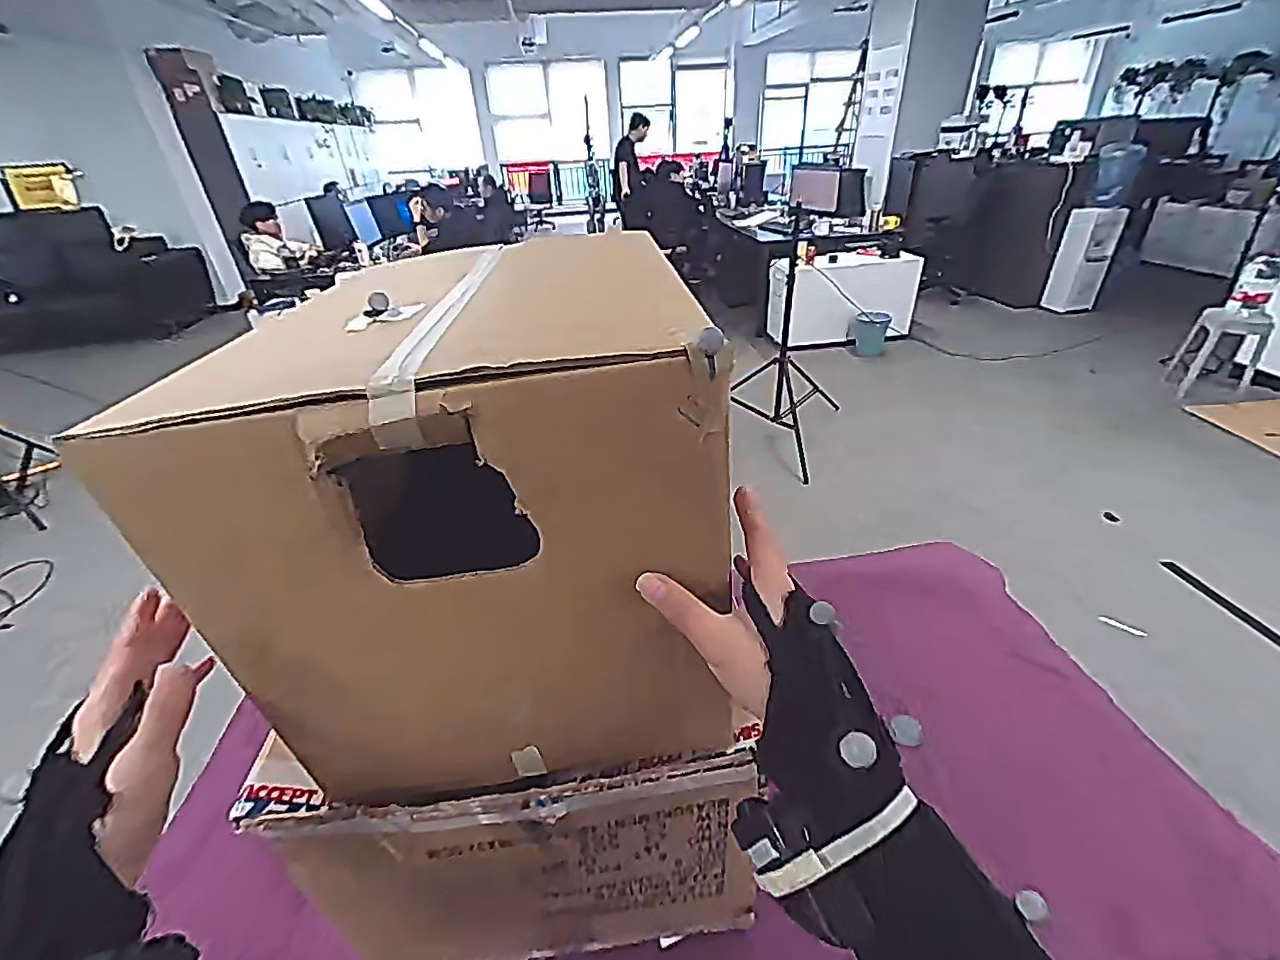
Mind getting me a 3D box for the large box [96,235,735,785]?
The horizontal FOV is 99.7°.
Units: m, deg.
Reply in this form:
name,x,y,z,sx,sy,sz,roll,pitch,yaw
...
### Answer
name,x,y,z,sx,sy,sz,roll,pitch,yaw
large box,-0.111,-0.015,0.500,0.320,0.320,0.408,-9,33,-1
